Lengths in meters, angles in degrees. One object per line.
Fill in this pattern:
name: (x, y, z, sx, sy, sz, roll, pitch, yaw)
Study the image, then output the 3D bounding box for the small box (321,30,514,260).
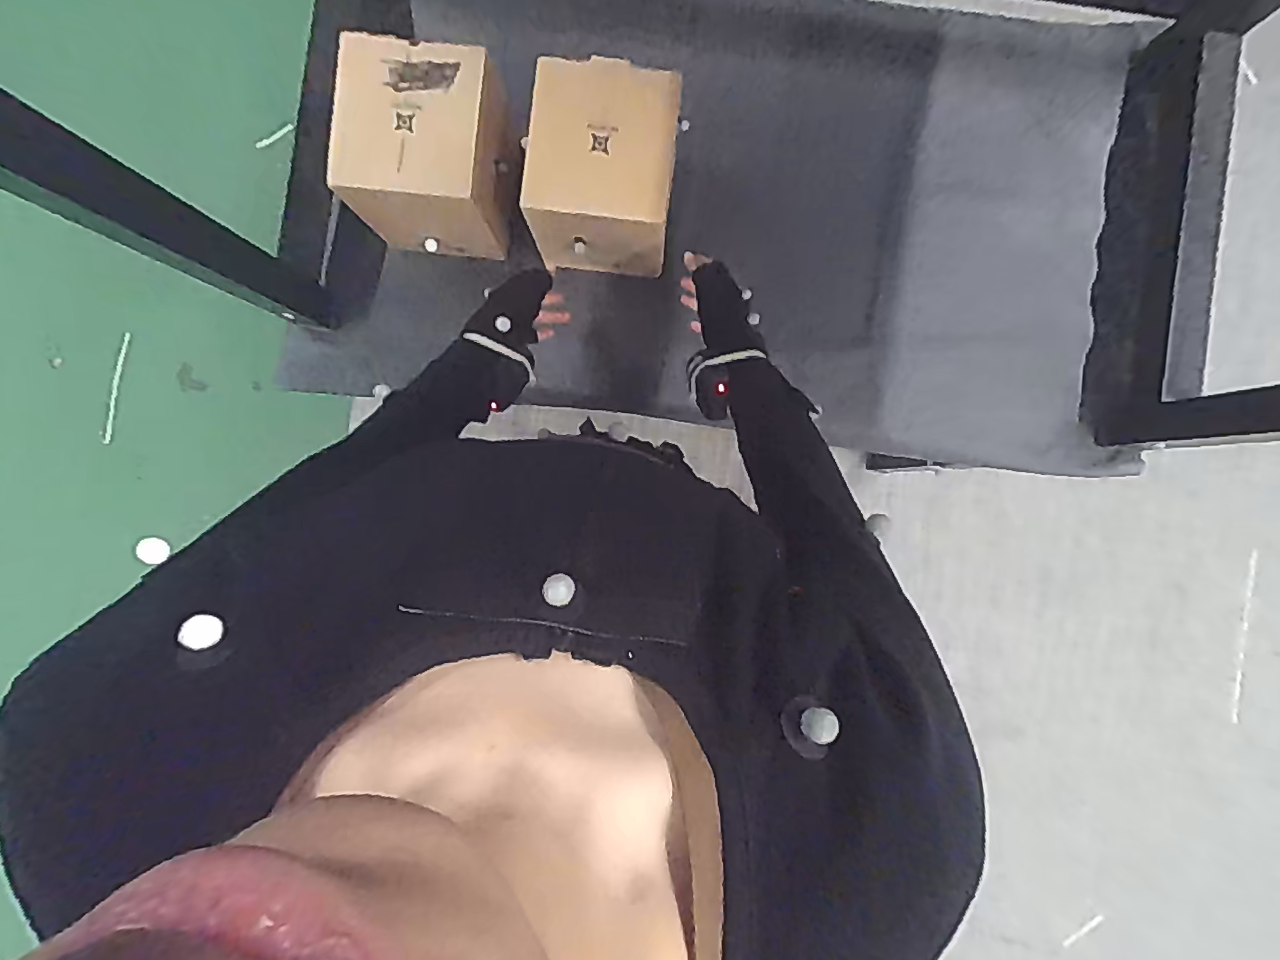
small box: (-0.263, -0.406, 0.682, 0.168, 0.176, 0.179, 7, 89, 0)
